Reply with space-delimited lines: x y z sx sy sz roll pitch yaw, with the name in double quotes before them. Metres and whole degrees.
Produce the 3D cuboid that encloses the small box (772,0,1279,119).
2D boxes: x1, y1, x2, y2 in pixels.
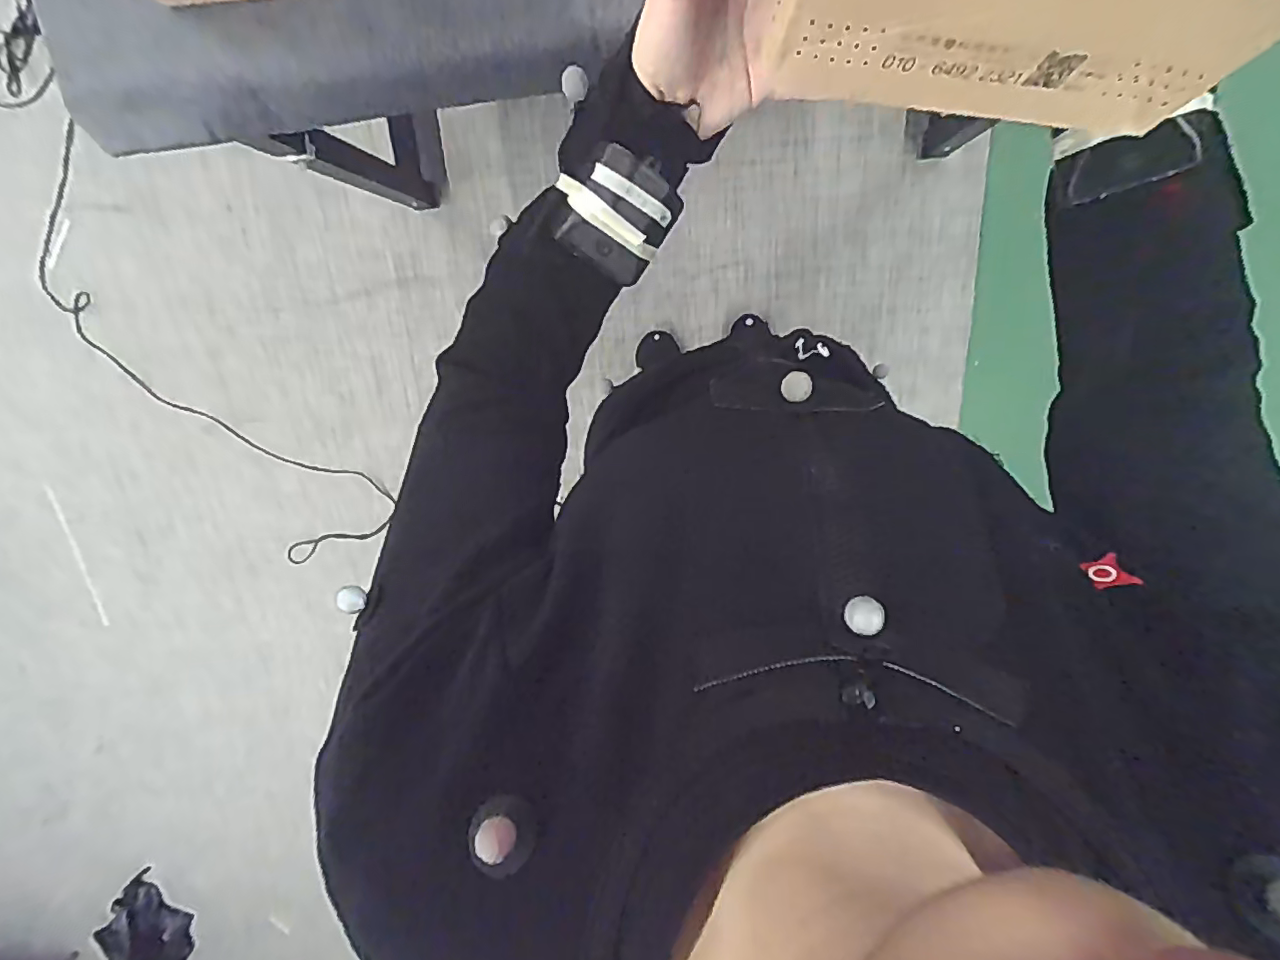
"small box" 0.140 -0.238 0.144 0.168 0.176 0.179 3 87 -3
